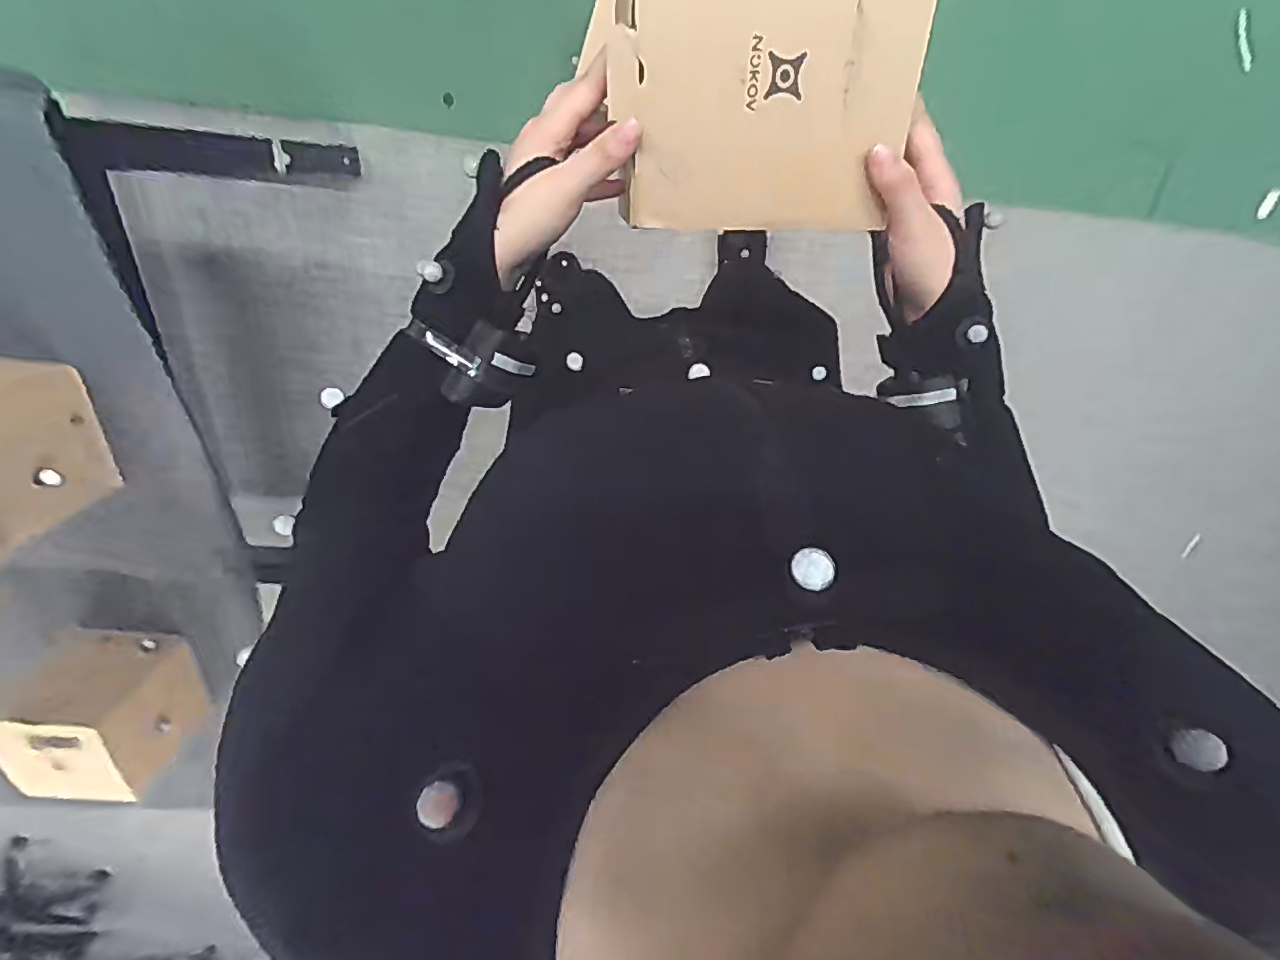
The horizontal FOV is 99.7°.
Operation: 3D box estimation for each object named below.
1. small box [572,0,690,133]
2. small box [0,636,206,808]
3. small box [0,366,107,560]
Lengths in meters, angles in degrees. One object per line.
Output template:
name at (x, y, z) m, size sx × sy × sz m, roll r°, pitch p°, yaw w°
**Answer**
small box at (-0.019, -0.794, 1.036) m, size 0.168 × 0.176 × 0.179 m, roll 19°, pitch 116°, yaw -13°
small box at (-0.812, 0.359, 0.817) m, size 0.168 × 0.176 × 0.179 m, roll 6°, pitch 119°, yaw -4°
small box at (-0.763, -0.029, 0.604) m, size 0.179 × 0.176 × 0.168 m, roll 5°, pitch 119°, yaw -3°
